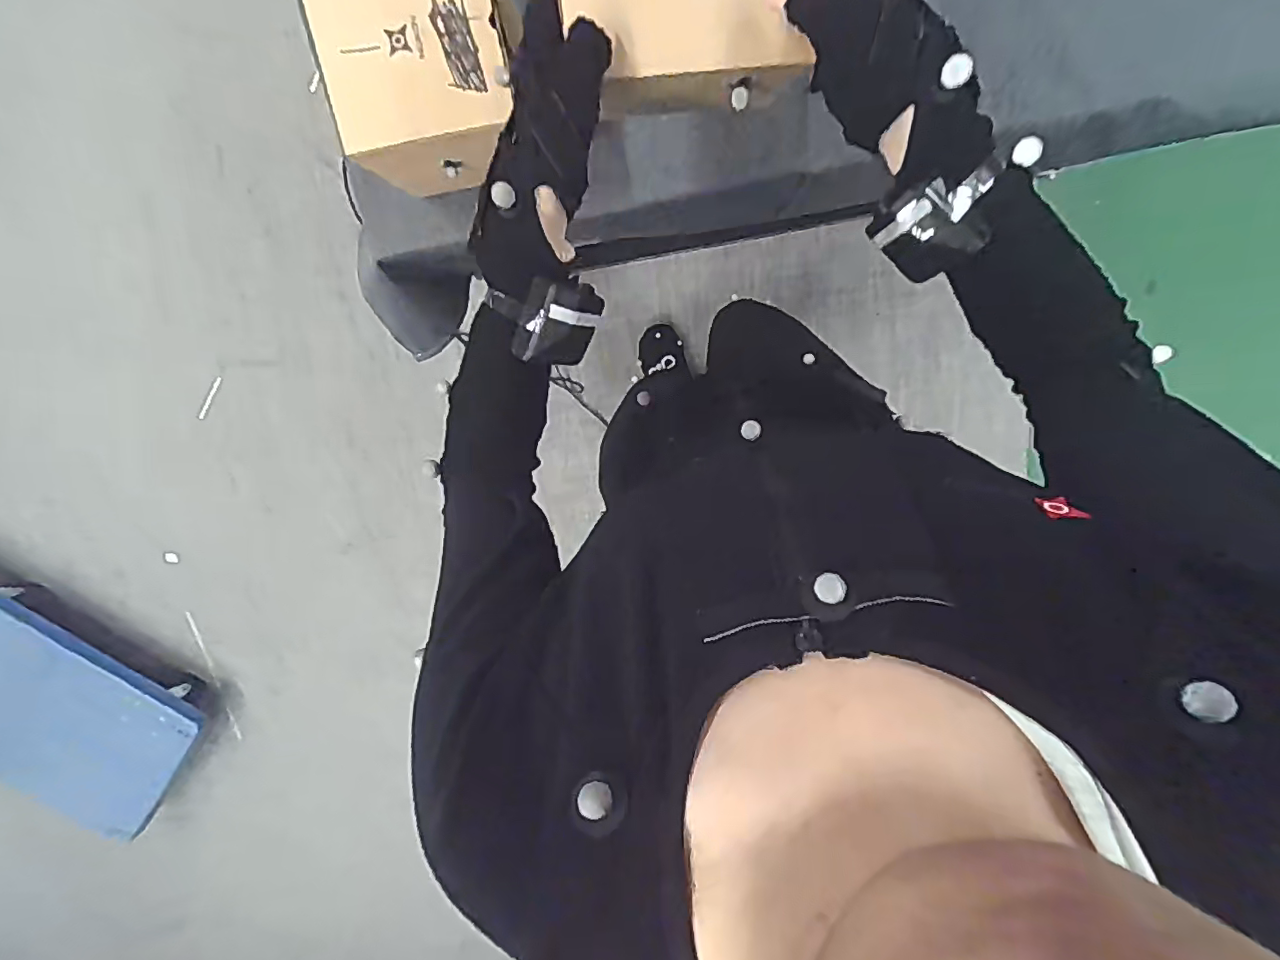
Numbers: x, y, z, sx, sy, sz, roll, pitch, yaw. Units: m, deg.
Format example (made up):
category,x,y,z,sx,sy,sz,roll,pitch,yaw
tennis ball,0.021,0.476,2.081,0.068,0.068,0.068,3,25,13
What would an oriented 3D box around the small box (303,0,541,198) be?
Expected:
category,x,y,z,sx,sy,sz,roll,pitch,yaw
small box,-0.212,-0.422,0.578,0.179,0.176,0.168,-9,104,4
